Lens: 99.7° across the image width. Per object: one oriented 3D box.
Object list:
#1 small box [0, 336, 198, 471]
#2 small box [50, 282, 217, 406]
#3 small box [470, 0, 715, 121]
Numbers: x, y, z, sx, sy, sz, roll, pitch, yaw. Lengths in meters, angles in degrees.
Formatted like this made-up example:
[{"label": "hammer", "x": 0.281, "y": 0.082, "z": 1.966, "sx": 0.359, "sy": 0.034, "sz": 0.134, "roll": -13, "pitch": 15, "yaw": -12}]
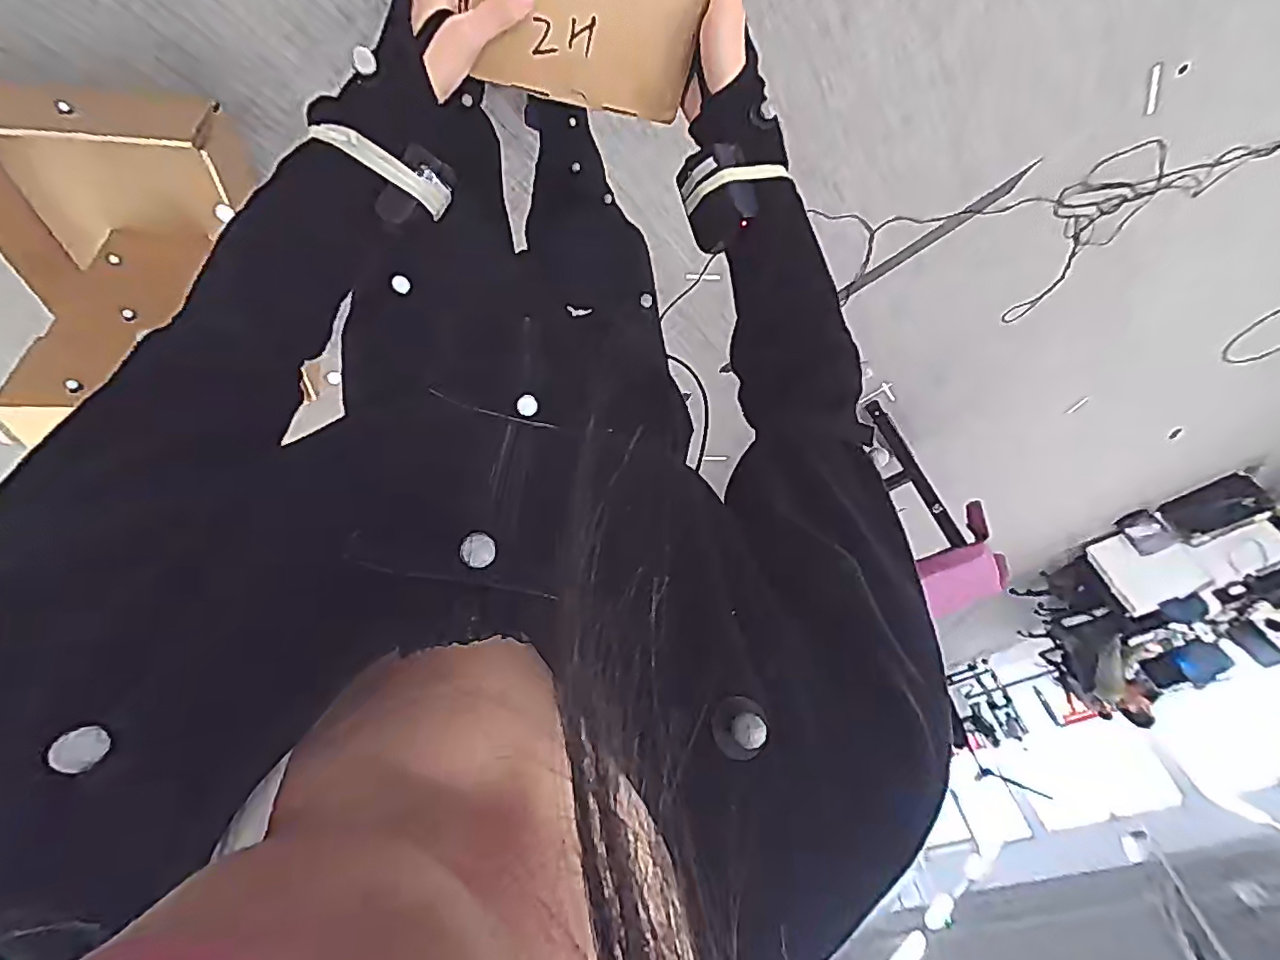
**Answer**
[{"label": "small box", "x": -0.918, "y": -0.132, "z": 0.937, "sx": 0.179, "sy": 0.176, "sz": 0.168, "roll": -3, "pitch": 143, "yaw": -17}, {"label": "small box", "x": -0.946, "y": -0.259, "z": 1.036, "sx": 0.179, "sy": 0.176, "sz": 0.168, "roll": -2, "pitch": 143, "yaw": -18}, {"label": "small box", "x": -0.038, "y": -0.414, "z": 0.404, "sx": 0.168, "sy": 0.176, "sz": 0.179, "roll": 0, "pitch": 142, "yaw": -20}]
